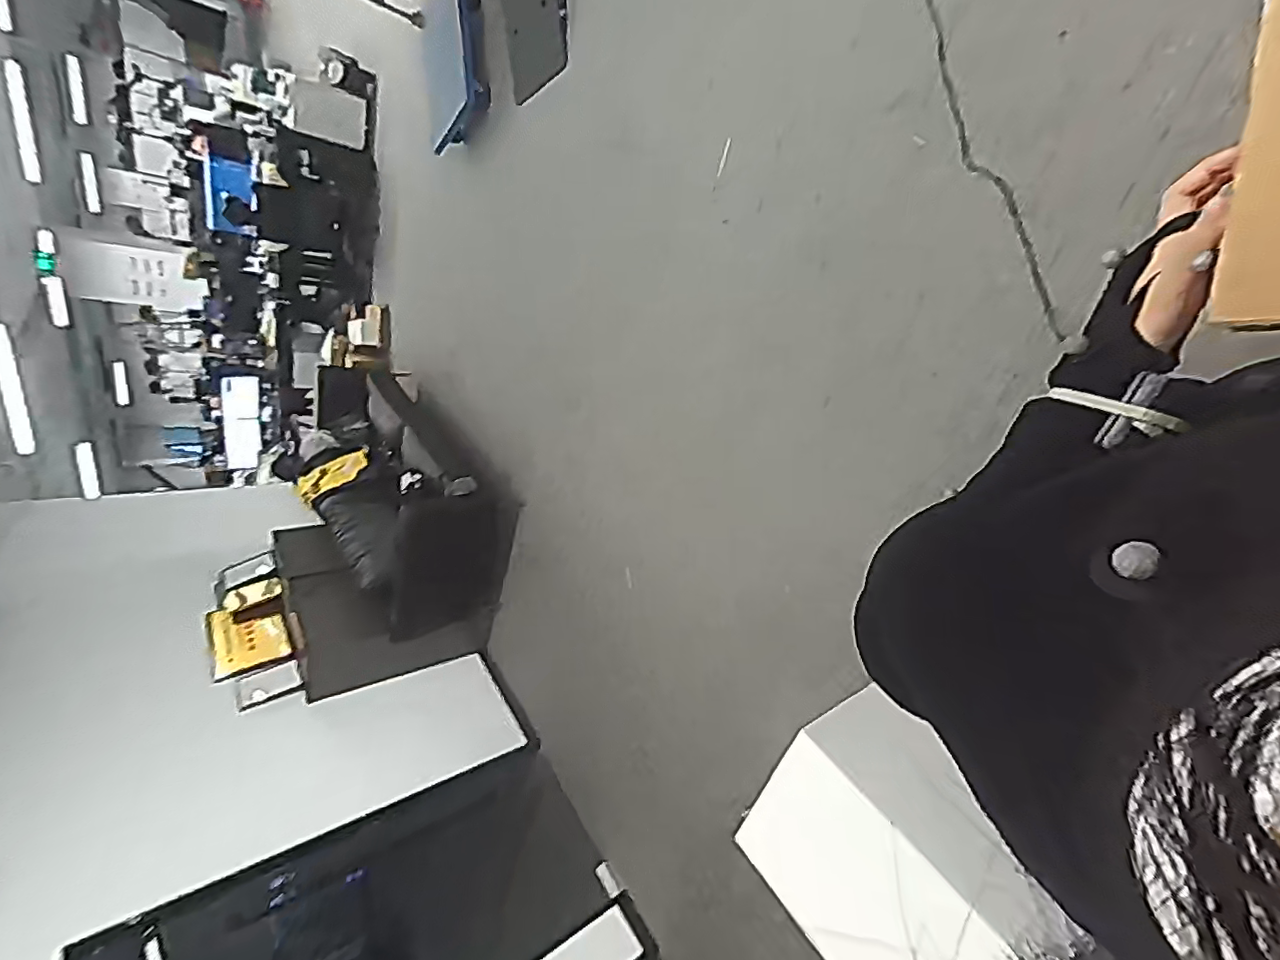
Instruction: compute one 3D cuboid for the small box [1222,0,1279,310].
[{"bbox_3d":[0.428,-0.186,0.269,0.168,0.176,0.179,11,108,50],"label":"small box"}]
